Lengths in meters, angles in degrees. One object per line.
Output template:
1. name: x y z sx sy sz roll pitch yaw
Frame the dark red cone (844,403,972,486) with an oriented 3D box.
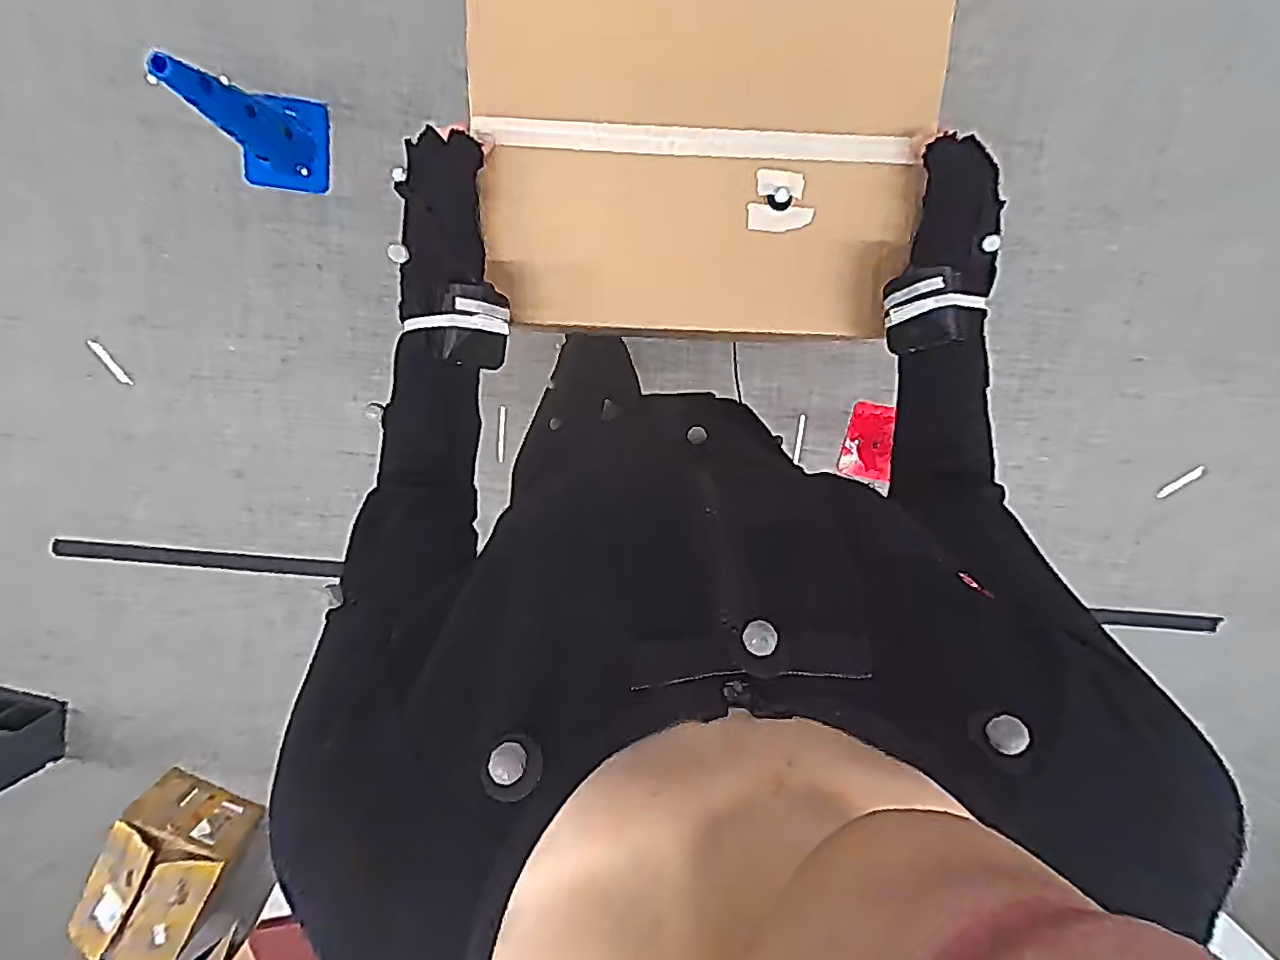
1. dark red cone: 0.652 -0.055 1.270 0.201 0.394 0.202 11 102 -2

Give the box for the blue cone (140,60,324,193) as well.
1. blue cone: -0.855 -0.762 1.136 0.192 0.380 0.193 8 102 -2

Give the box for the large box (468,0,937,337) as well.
1. large box: 0.045 -0.332 0.620 0.408 0.320 0.320 1 103 -3
